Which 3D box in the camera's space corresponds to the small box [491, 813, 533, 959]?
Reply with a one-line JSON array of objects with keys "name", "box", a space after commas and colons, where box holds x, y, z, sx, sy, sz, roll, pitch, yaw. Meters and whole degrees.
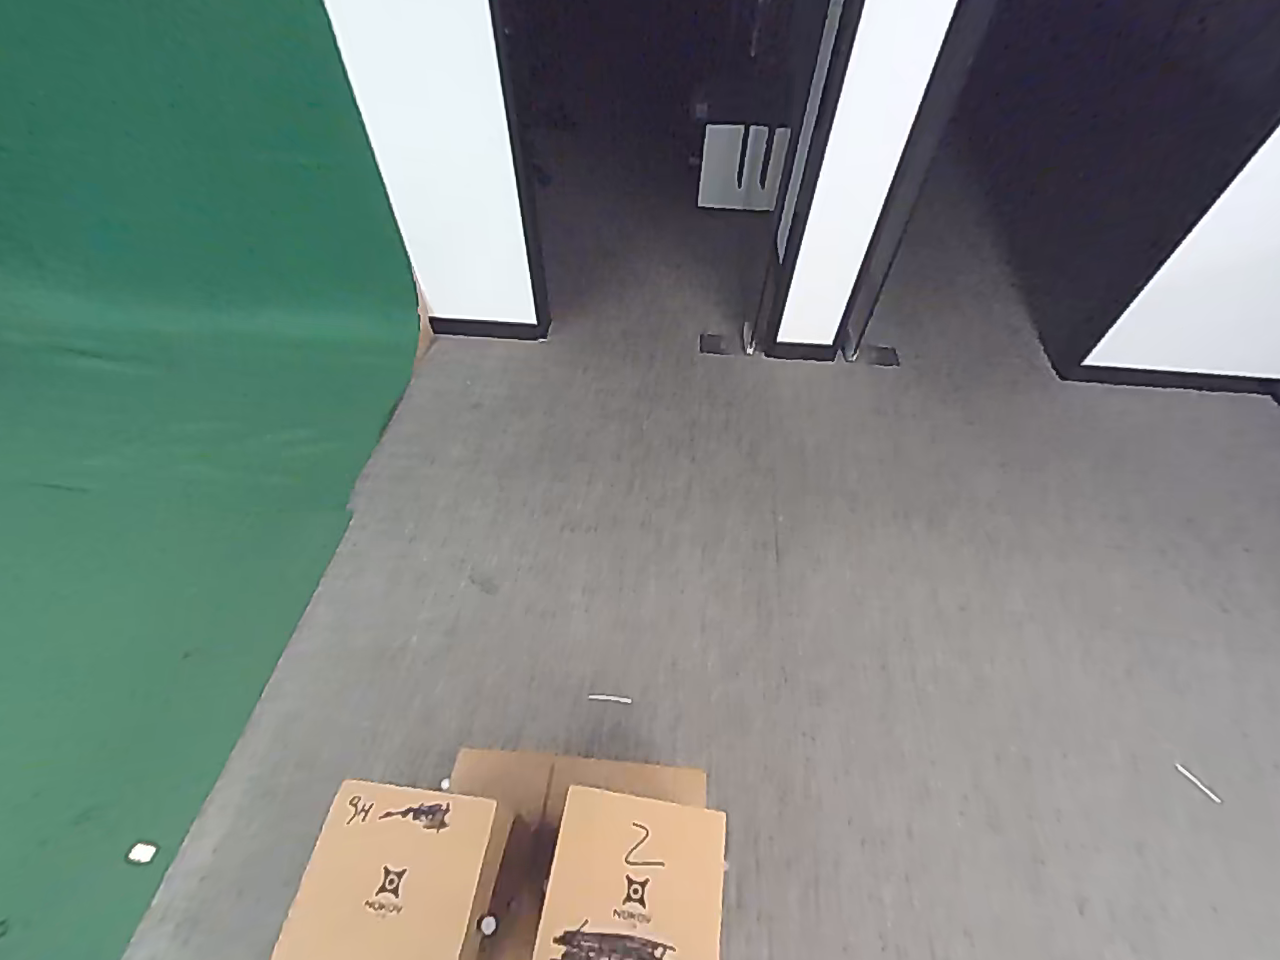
[{"name": "small box", "box": [-0.241, 0.536, 0.700, 0.168, 0.176, 0.179, 6, 53, 2]}]

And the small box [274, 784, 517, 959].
[{"name": "small box", "box": [-0.237, 0.439, 0.567, 0.168, 0.176, 0.179, 7, 53, 3]}]
